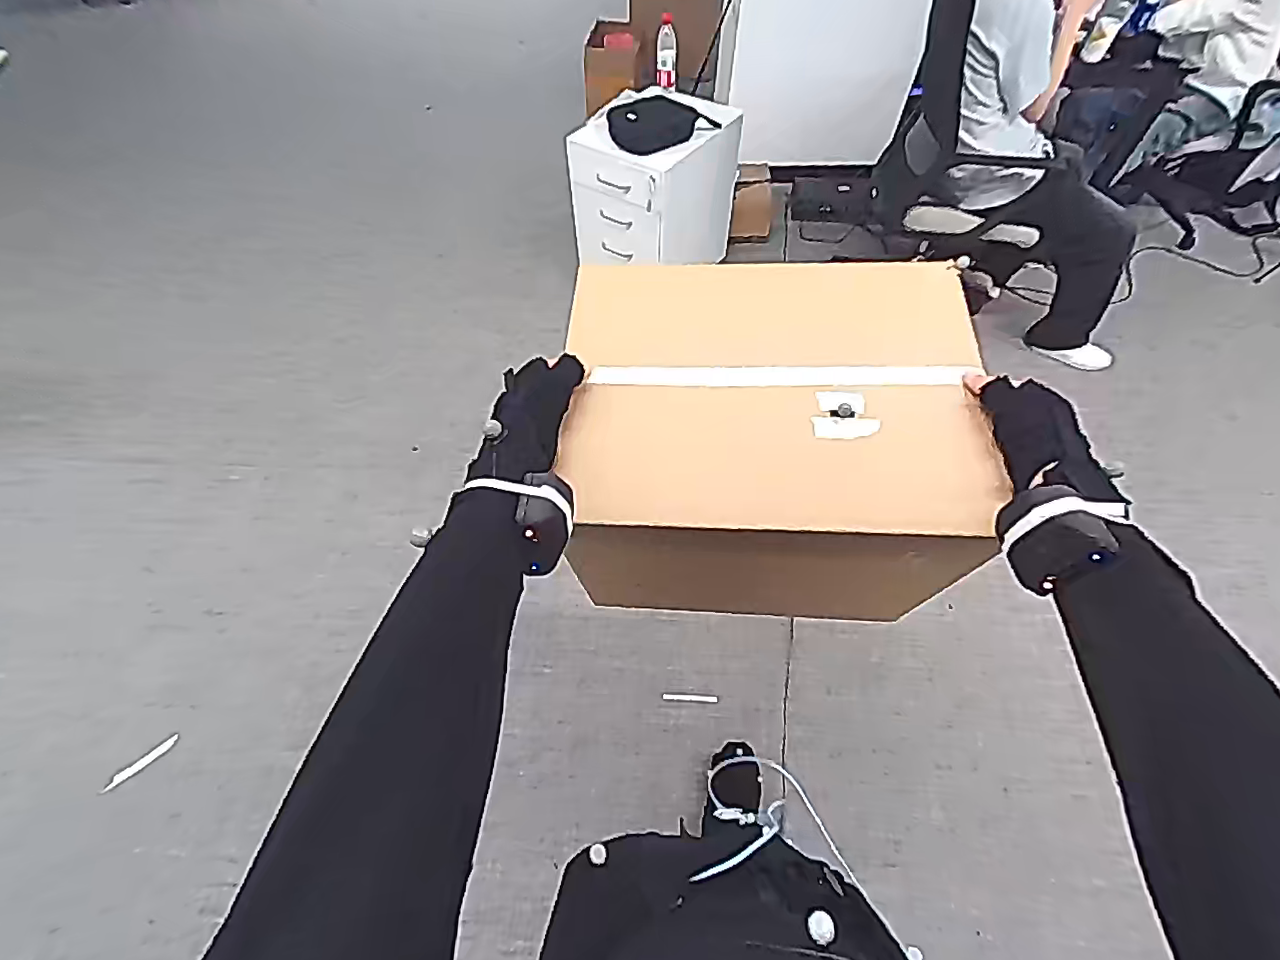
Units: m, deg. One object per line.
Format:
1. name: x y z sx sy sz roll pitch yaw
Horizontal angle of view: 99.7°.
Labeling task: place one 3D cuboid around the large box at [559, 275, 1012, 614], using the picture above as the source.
1. large box: 0.139 -0.026 0.674 0.408 0.320 0.320 2 64 6
